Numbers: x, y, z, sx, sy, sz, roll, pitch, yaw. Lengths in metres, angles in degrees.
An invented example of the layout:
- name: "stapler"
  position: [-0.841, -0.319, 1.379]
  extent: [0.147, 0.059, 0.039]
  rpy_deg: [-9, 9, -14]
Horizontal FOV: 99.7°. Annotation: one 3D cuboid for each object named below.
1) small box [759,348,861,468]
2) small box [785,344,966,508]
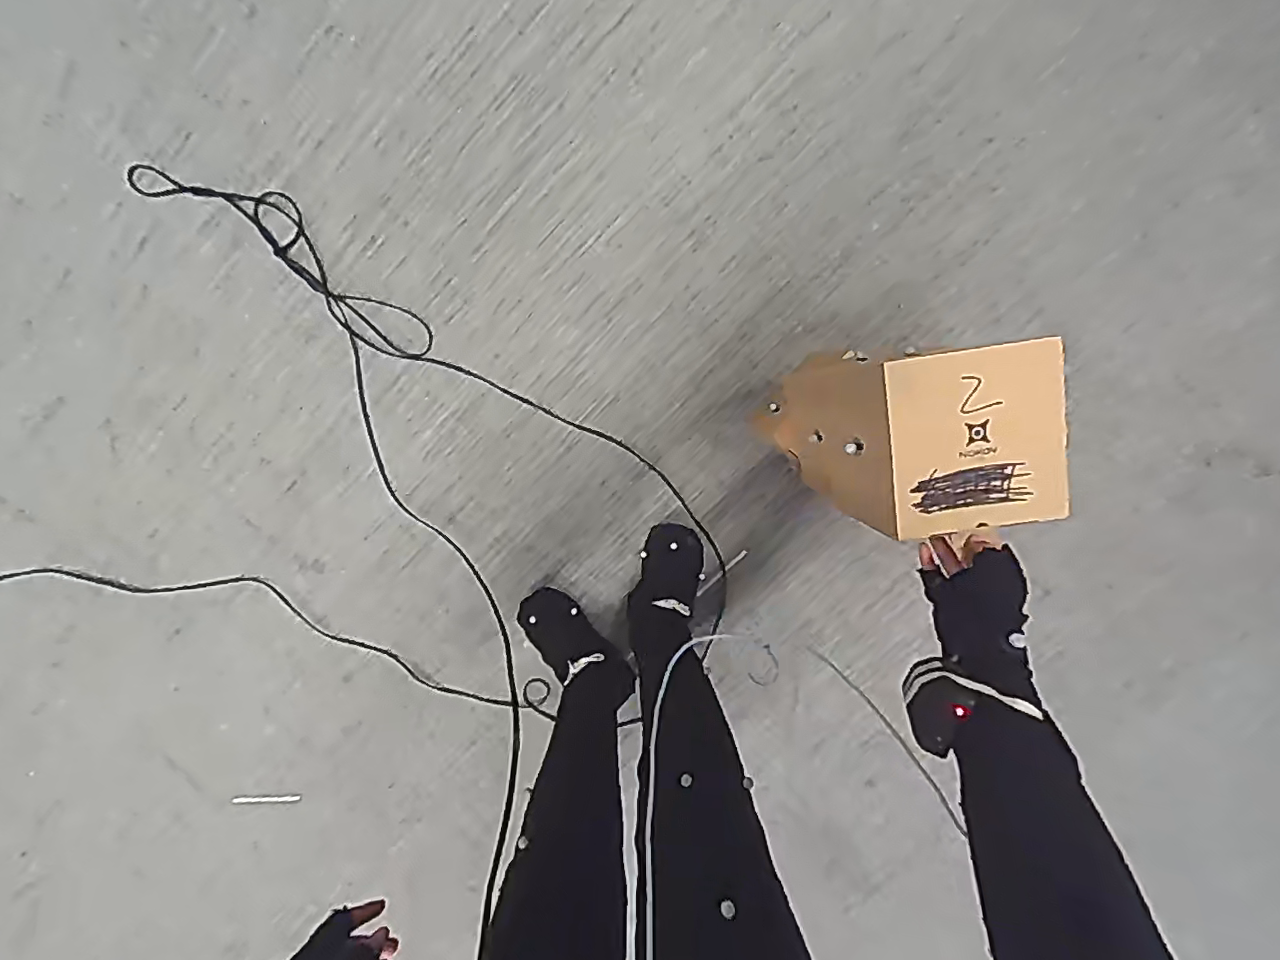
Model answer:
- name: "small box"
  position: [0.319, -0.099, 0.903]
  extent: [0.168, 0.176, 0.179]
  rpy_deg: [39, 98, -10]
- name: "small box"
  position: [0.316, -0.081, 0.755]
  extent: [0.168, 0.176, 0.179]
  rpy_deg: [-15, 103, 2]
